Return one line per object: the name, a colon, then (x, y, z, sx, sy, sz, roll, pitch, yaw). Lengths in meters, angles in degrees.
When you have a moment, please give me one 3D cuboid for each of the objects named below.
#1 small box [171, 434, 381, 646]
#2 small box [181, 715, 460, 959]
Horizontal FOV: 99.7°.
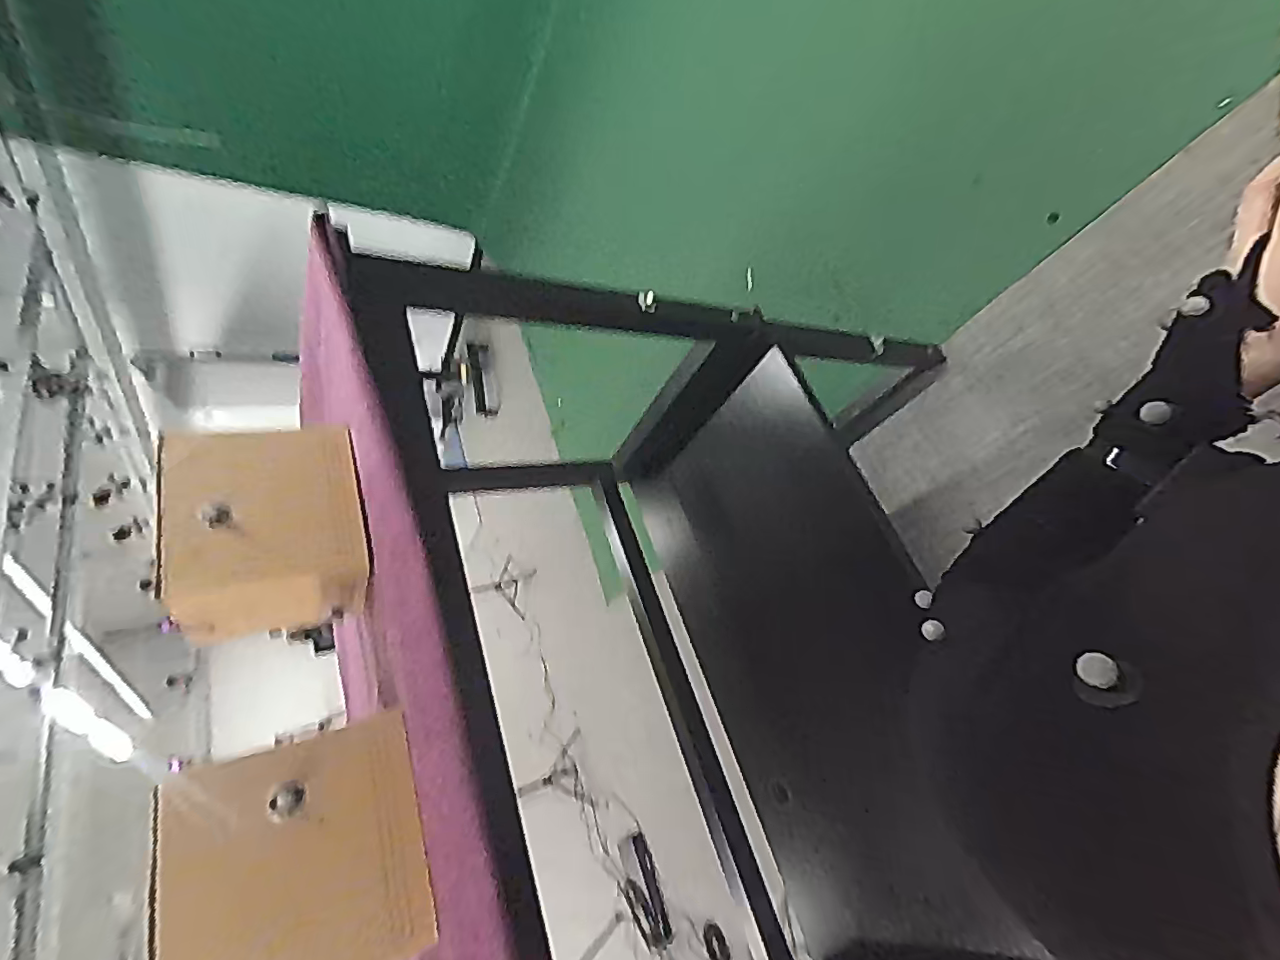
small box: (-0.397, 0.063, 0.609, 0.168, 0.176, 0.179, -50, 54, 49)
small box: (-0.269, 0.321, 0.462, 0.168, 0.176, 0.179, -52, 54, 46)
